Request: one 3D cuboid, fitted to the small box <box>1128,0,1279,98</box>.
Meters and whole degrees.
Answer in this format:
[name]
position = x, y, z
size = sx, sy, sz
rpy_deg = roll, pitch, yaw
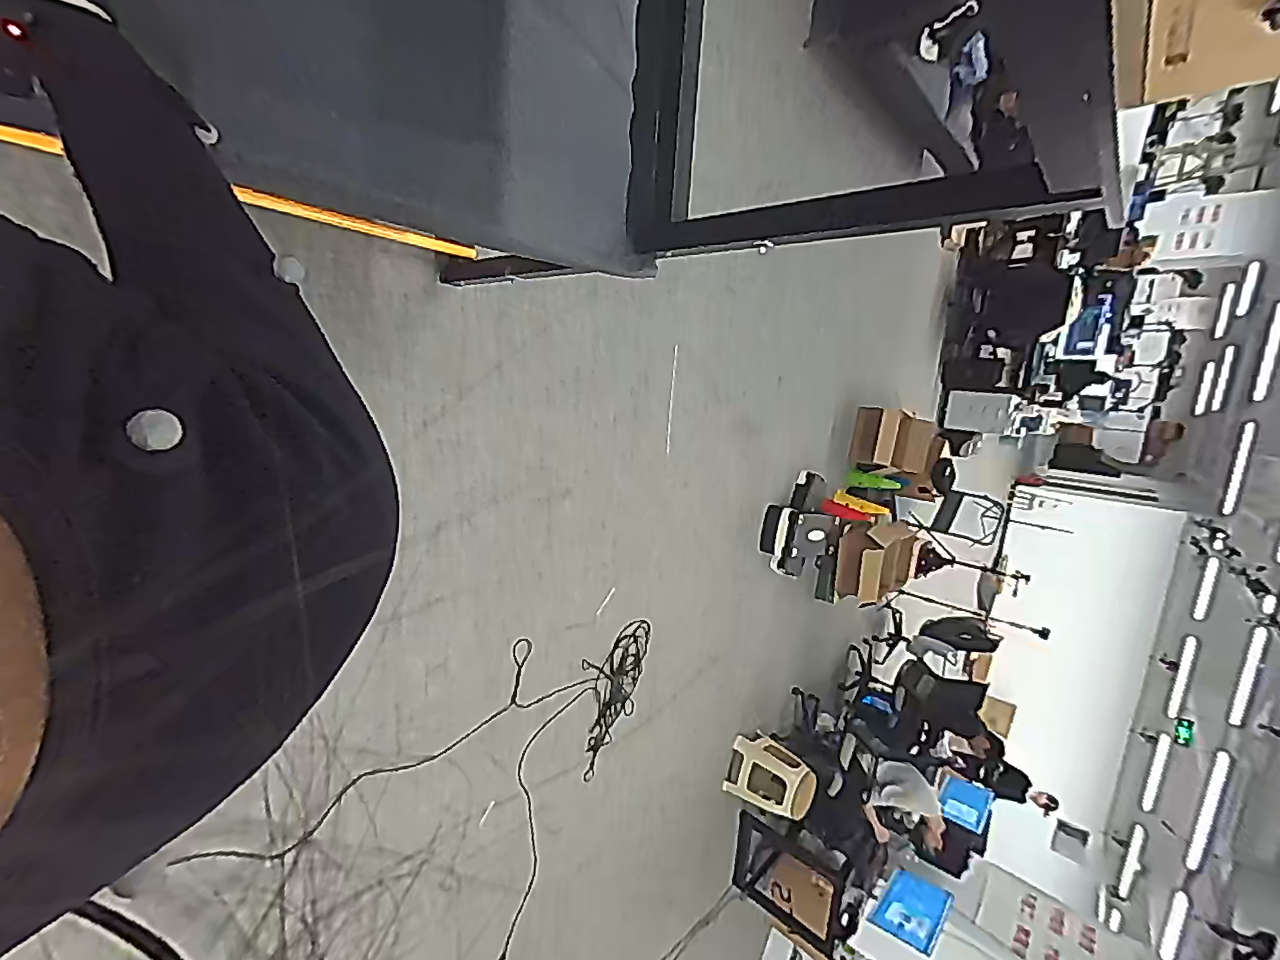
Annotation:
[small box]
position = 0.514, -0.449, 0.425
size = 0.168, 0.176, 0.179
rpy_deg = 10, 93, -50
